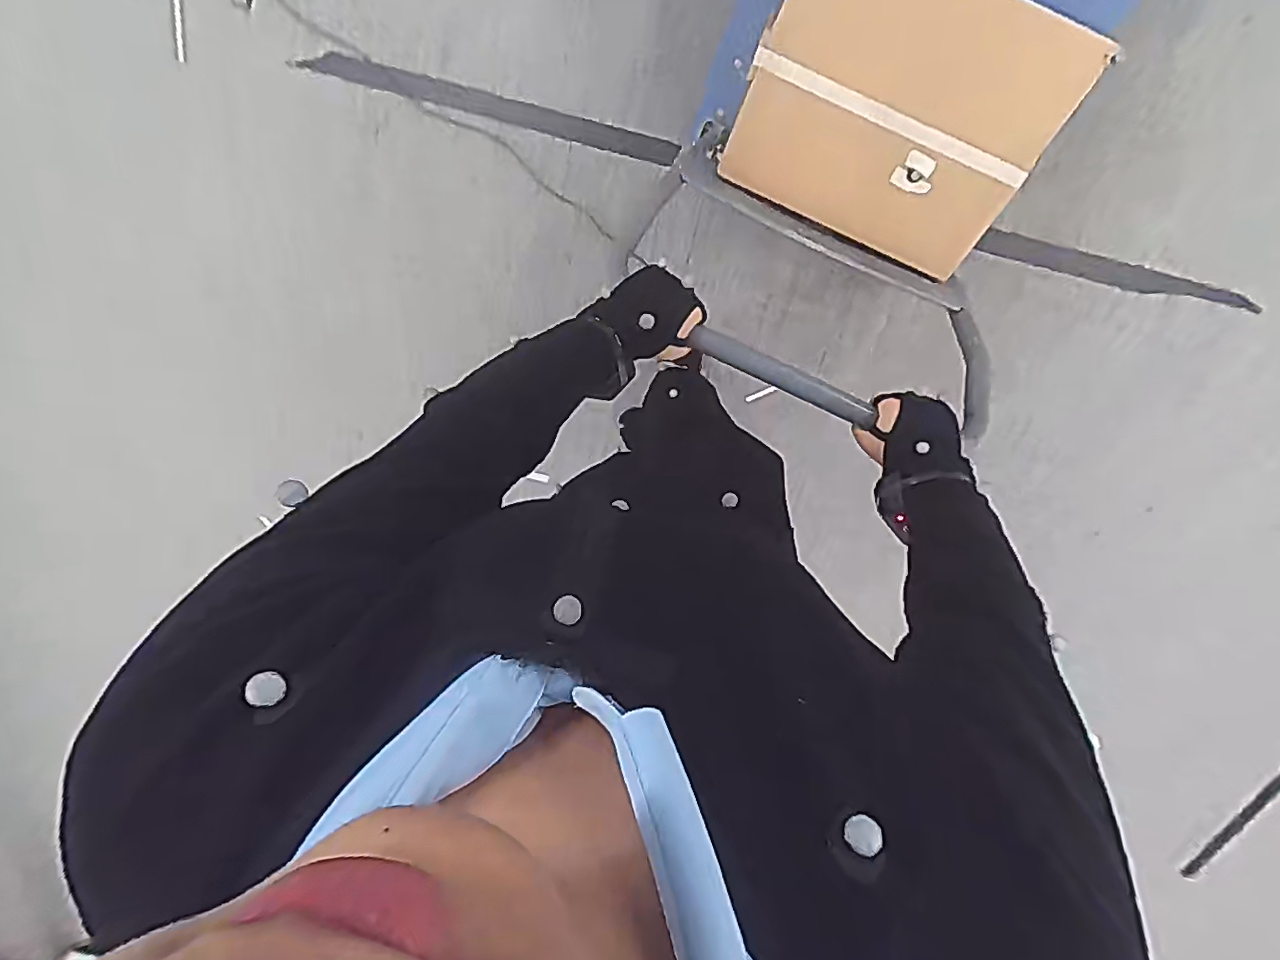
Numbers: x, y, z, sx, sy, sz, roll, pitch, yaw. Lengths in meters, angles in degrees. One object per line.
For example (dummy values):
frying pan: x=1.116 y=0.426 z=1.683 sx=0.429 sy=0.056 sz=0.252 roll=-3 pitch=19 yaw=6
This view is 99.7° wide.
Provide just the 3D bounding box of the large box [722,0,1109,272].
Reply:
large box: x=0.389 y=-0.604 z=0.876 sx=0.408 sy=0.320 sz=0.320 roll=24 pitch=132 yaw=-2
